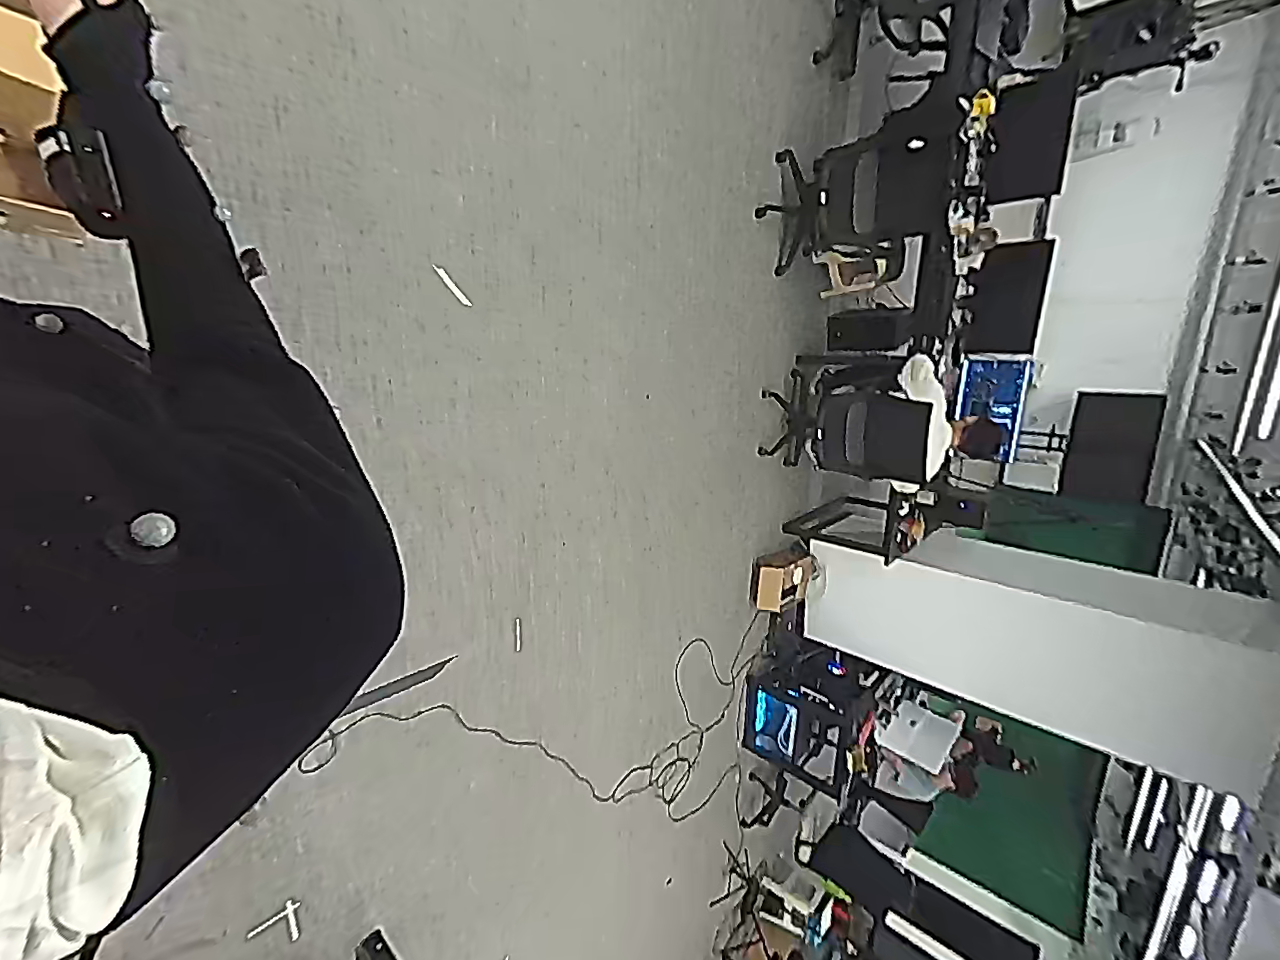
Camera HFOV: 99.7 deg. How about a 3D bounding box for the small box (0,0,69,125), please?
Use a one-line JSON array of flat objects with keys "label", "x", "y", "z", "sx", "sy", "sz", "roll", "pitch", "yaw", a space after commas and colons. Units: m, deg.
[{"label": "small box", "x": -0.747, "y": -0.518, "z": 0.581, "sx": 0.179, "sy": 0.176, "sz": 0.168, "roll": 4, "pitch": 95, "yaw": -48}]
